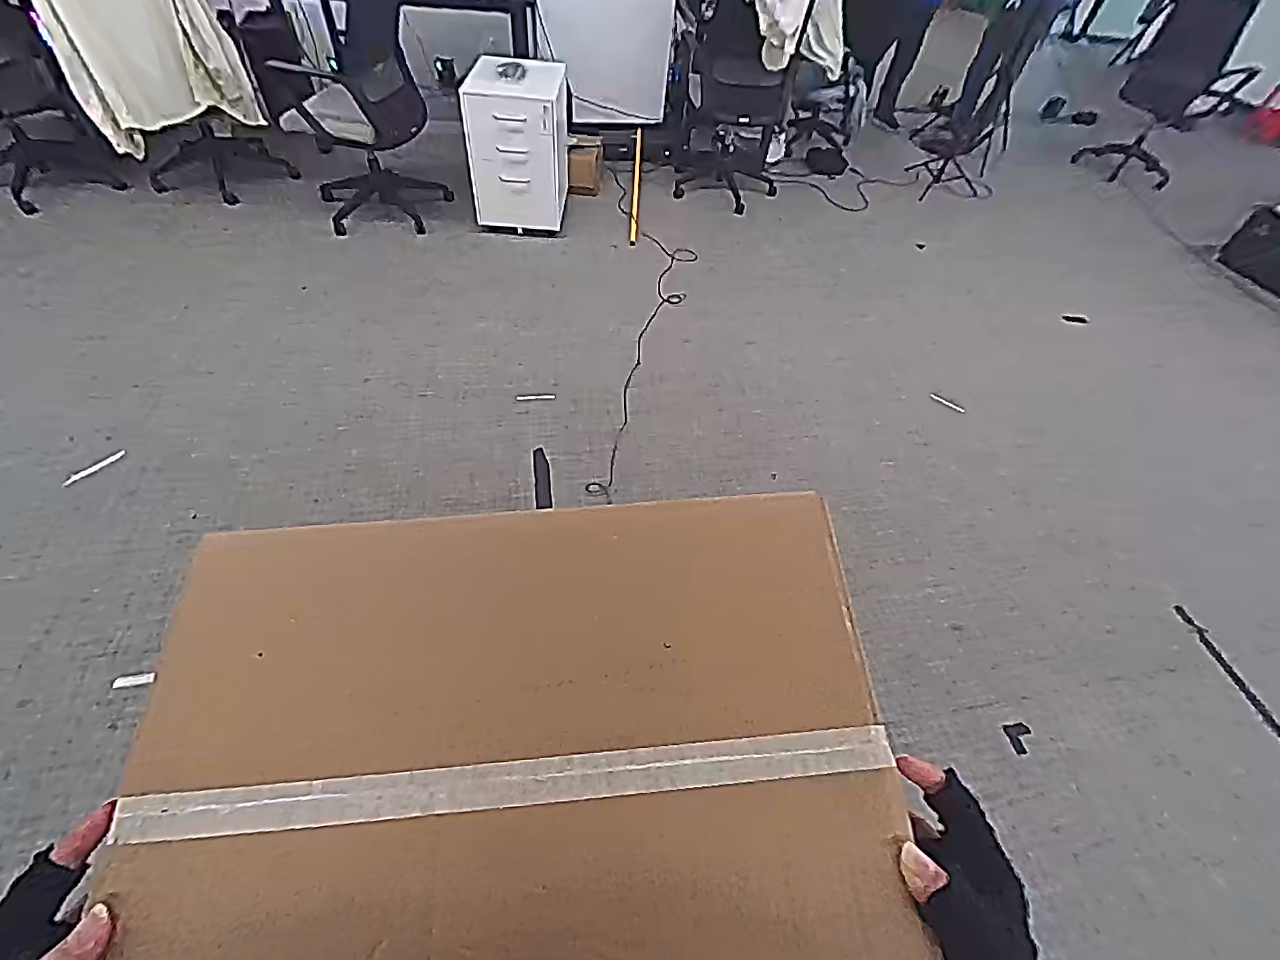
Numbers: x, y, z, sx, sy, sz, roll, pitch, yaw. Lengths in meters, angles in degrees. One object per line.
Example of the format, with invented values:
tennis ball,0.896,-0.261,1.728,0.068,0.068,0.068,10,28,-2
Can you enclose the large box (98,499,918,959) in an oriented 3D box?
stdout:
large box,-0.068,0.229,0.433,0.408,0.320,0.320,-4,62,-2
